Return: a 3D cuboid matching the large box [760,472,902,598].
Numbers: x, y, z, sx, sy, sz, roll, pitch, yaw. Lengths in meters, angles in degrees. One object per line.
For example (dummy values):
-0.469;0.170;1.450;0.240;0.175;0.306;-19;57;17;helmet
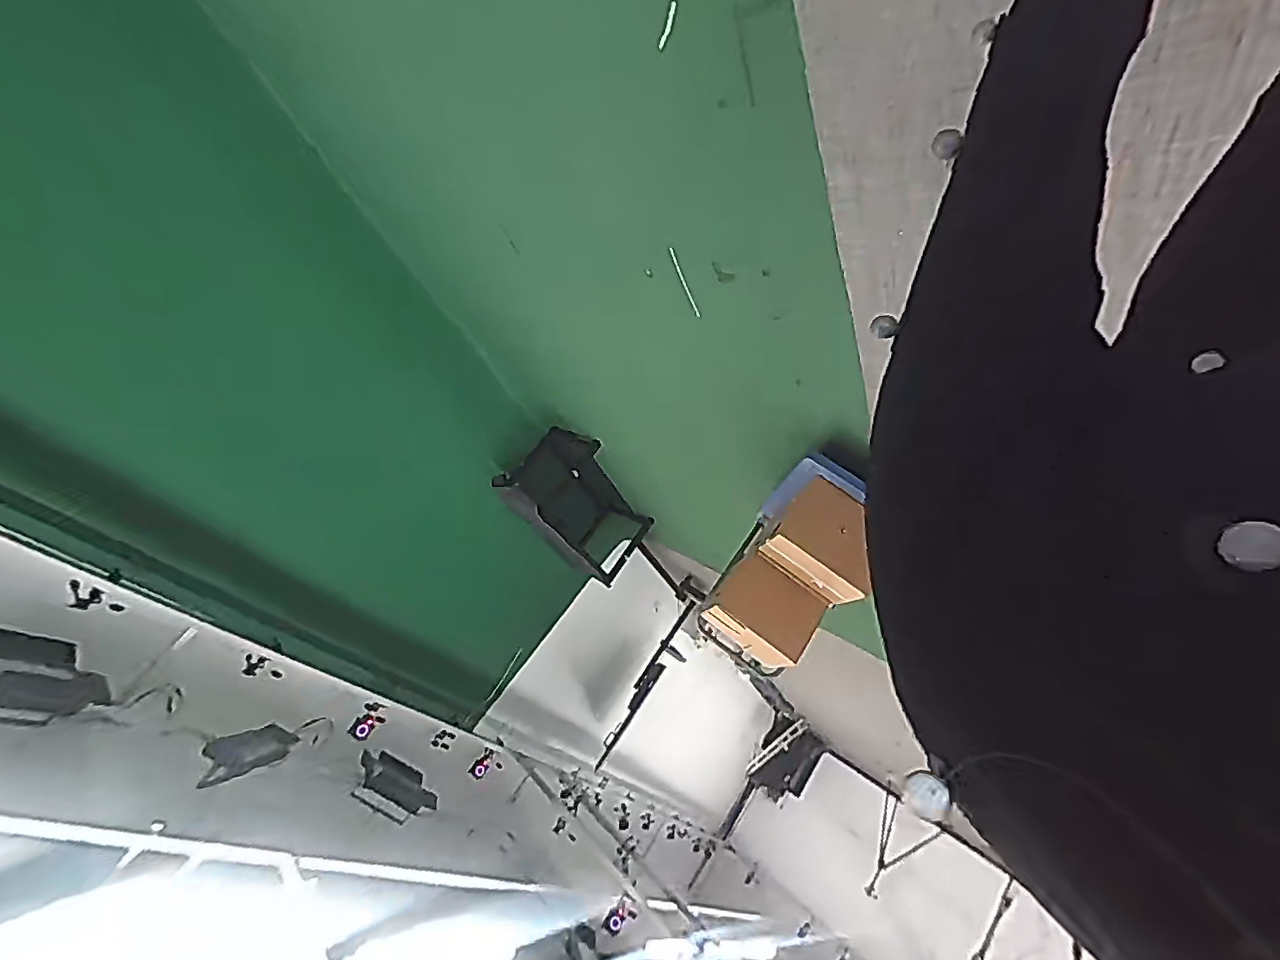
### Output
0.776;0.232;2.237;0.408;0.320;0.320;35;164;8;large box
